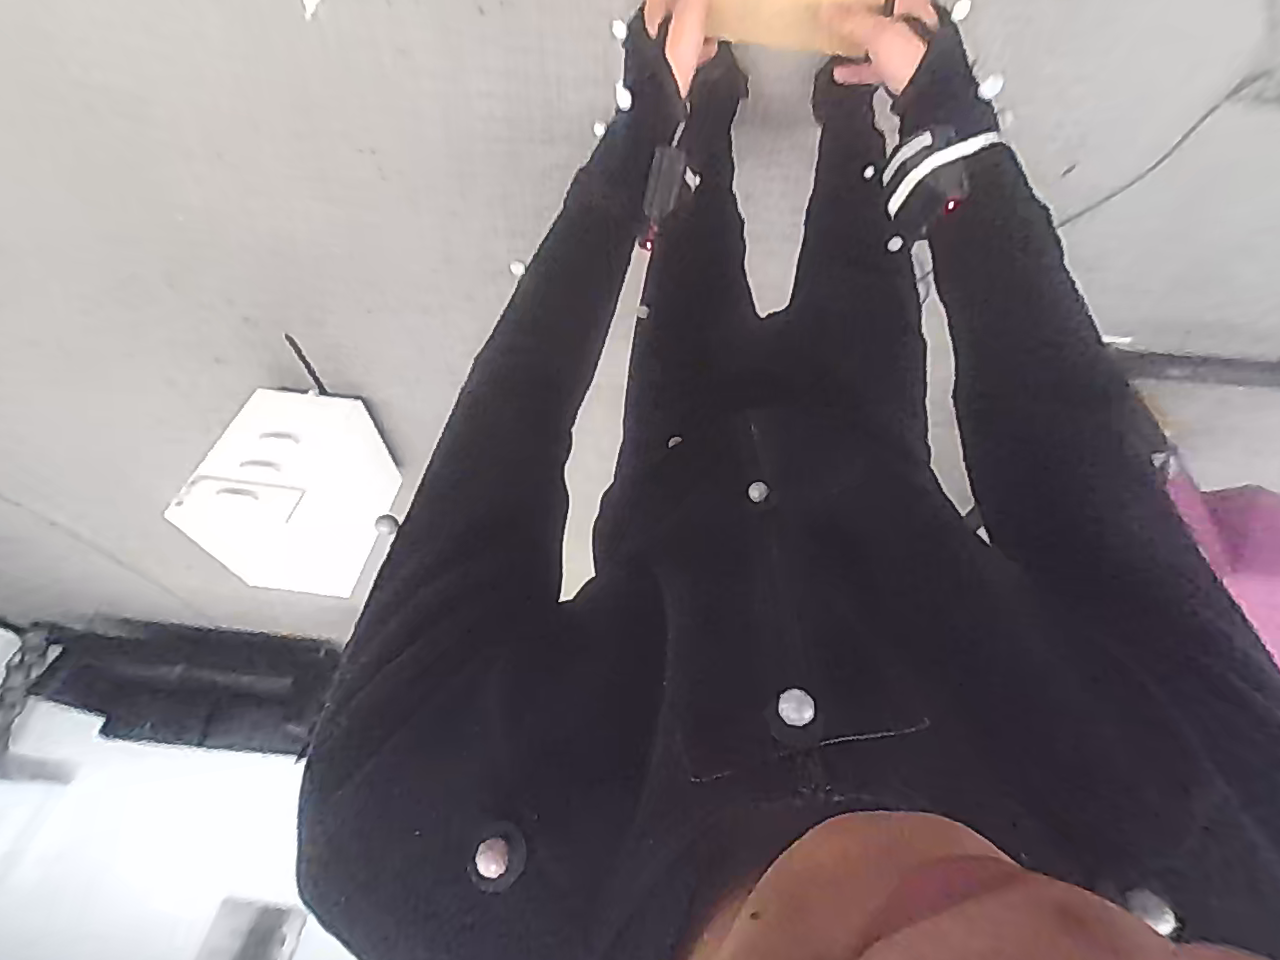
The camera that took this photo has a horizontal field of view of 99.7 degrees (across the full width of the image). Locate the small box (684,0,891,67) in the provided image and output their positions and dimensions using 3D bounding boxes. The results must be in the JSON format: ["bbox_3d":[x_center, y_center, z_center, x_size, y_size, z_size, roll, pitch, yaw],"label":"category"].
[{"bbox_3d":[0.128,-0.482,0.442,0.168,0.176,0.179,5,146,-3],"label":"small box"}]
